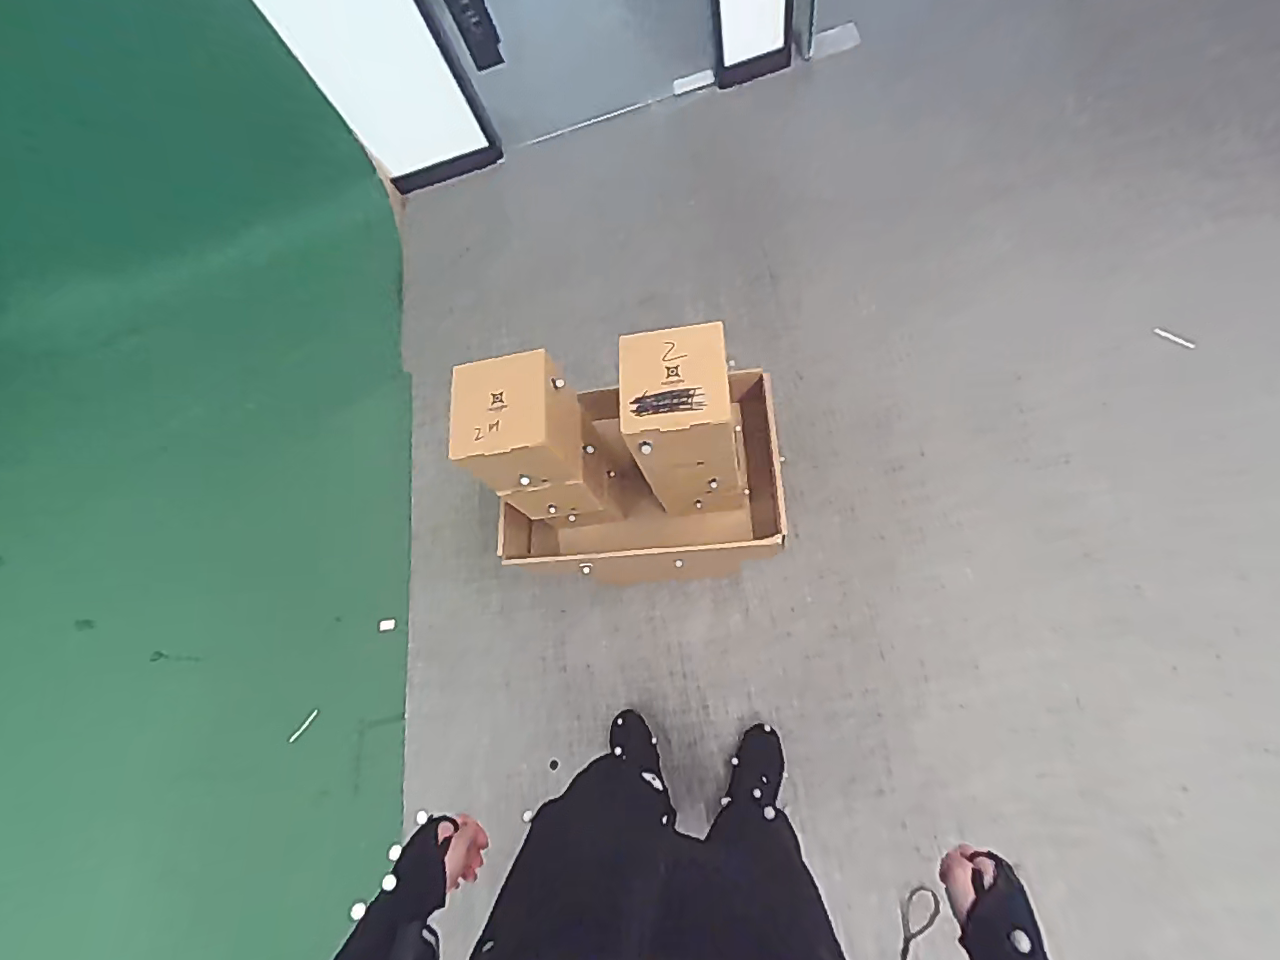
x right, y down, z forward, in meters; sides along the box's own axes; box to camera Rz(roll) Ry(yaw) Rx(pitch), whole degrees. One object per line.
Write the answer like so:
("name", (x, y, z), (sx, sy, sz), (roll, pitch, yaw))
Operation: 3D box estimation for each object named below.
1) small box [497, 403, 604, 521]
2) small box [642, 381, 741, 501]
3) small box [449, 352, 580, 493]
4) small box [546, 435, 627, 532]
("small box", (-0.173, -0.030, 1.085), (0.168, 0.176, 0.179), (-8, 69, 10))
("small box", (0.101, -0.064, 1.032), (0.168, 0.176, 0.179), (-6, 68, 10))
("small box", (-0.208, -0.092, 0.937), (0.168, 0.176, 0.179), (-8, 69, 10))
("small box", (-0.136, 0.014, 1.238), (0.179, 0.176, 0.168), (-7, 69, 10))
